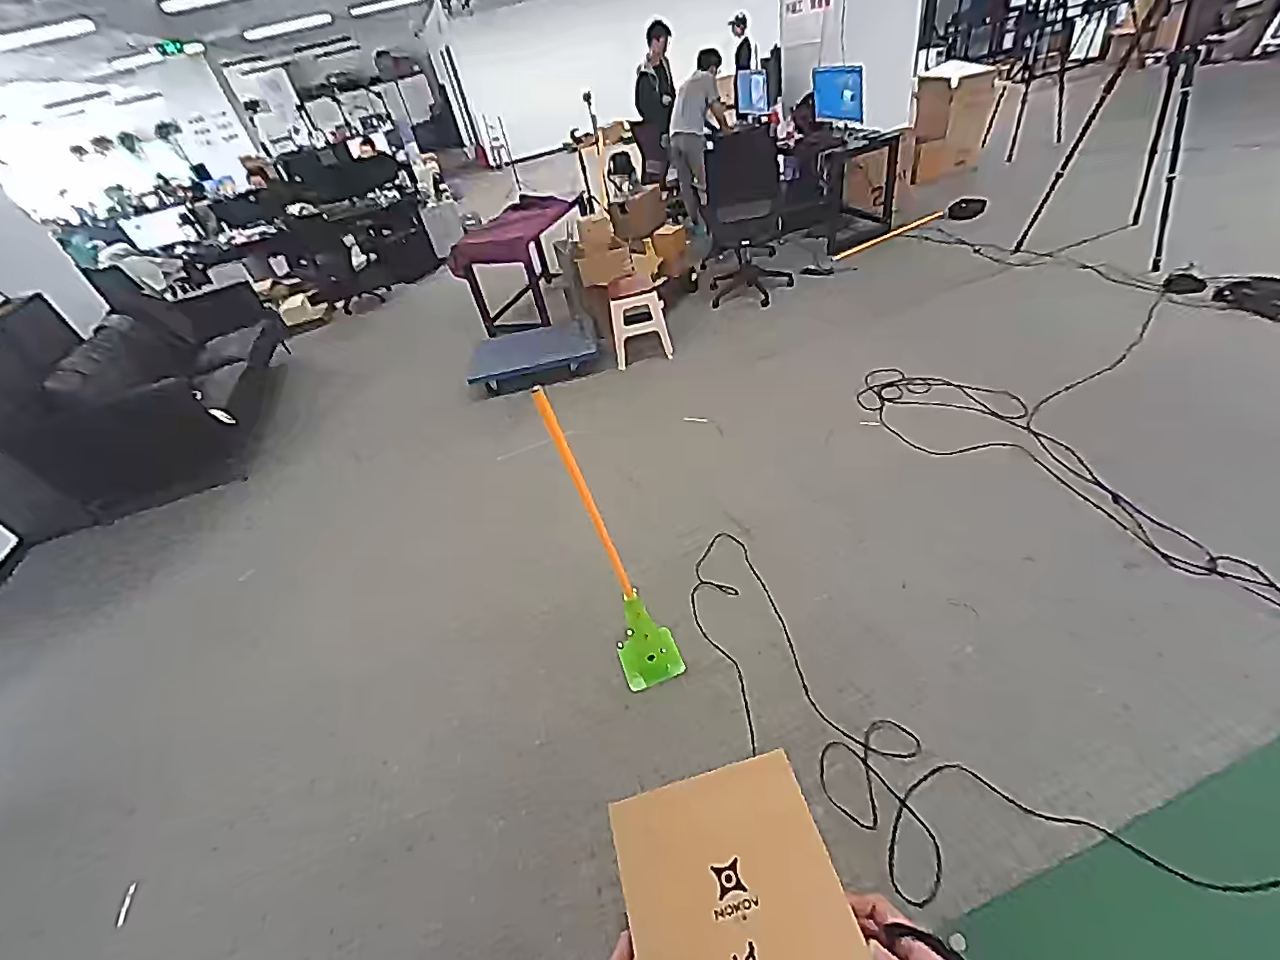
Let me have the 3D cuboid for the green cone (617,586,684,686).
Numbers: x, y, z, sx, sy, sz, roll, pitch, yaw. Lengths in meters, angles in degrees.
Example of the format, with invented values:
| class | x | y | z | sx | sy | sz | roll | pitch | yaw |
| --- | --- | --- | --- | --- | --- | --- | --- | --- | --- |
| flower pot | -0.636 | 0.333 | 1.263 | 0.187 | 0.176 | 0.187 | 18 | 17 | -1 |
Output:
| class | x | y | z | sx | sy | sz | roll | pitch | yaw |
| --- | --- | --- | --- | --- | --- | --- | --- | --- | --- |
| green cone | 0.005 | 0.484 | 1.792 | 0.202 | 0.368 | 0.200 | -19 | 40 | -8 |

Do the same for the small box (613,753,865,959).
| class | x | y | z | sx | sy | sz | roll | pitch | yaw |
| --- | --- | --- | --- | --- | --- | --- | --- | --- | --- |
| small box | 0.081 | 0.381 | 0.482 | 0.168 | 0.176 | 0.179 | -15 | 45 | -4 |
